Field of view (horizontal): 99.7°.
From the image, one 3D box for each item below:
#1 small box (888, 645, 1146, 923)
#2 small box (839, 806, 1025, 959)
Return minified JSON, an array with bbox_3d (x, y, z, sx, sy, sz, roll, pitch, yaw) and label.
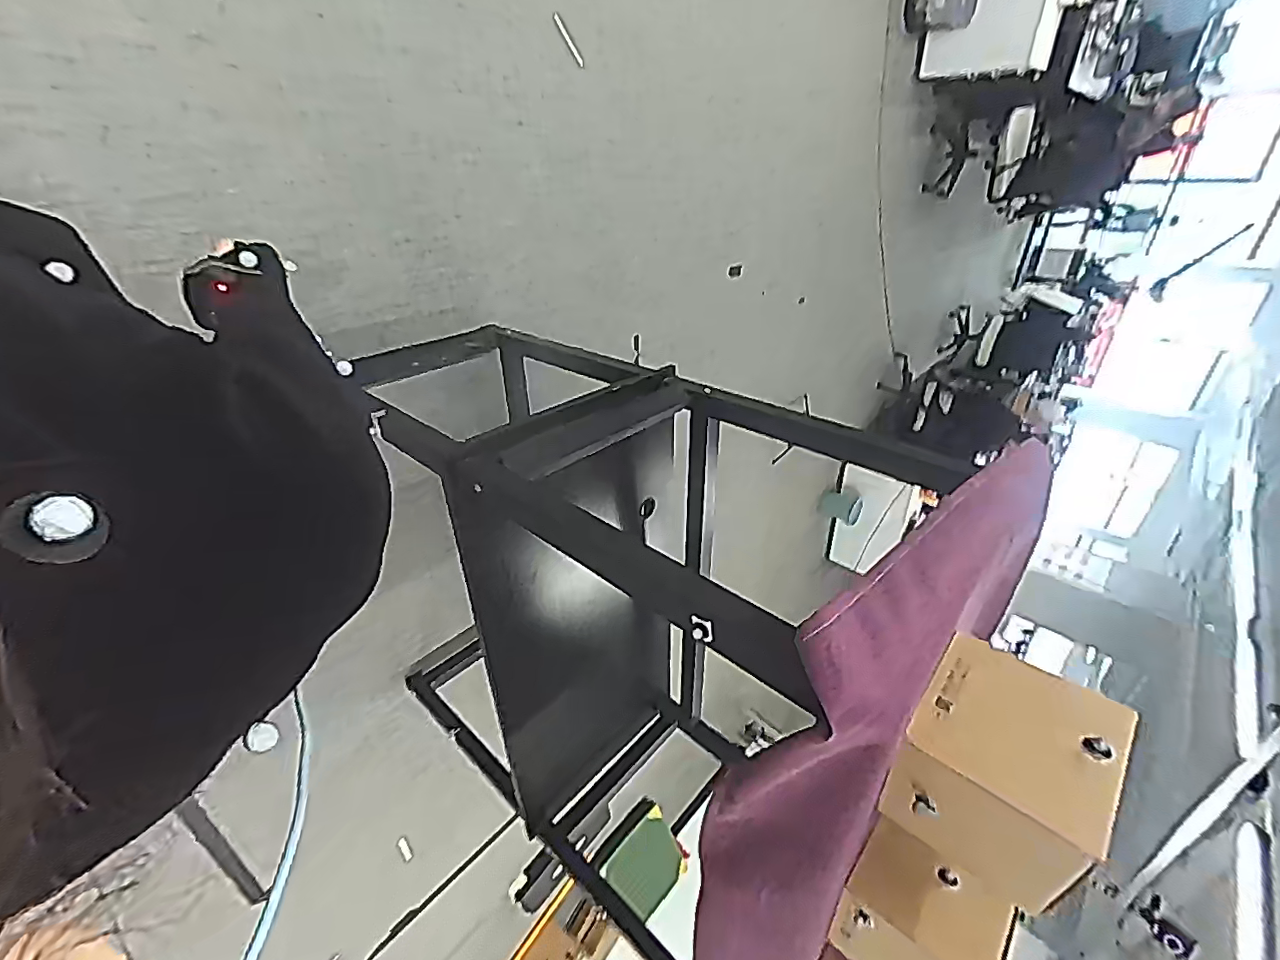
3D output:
[{"bbox_3d":[0.391,0.315,0.586,0.168,0.176,0.179,-39,137,-32],"label":"small box"},{"bbox_3d":[0.386,0.572,0.721,0.179,0.176,0.168,-33,132,-38],"label":"small box"}]
